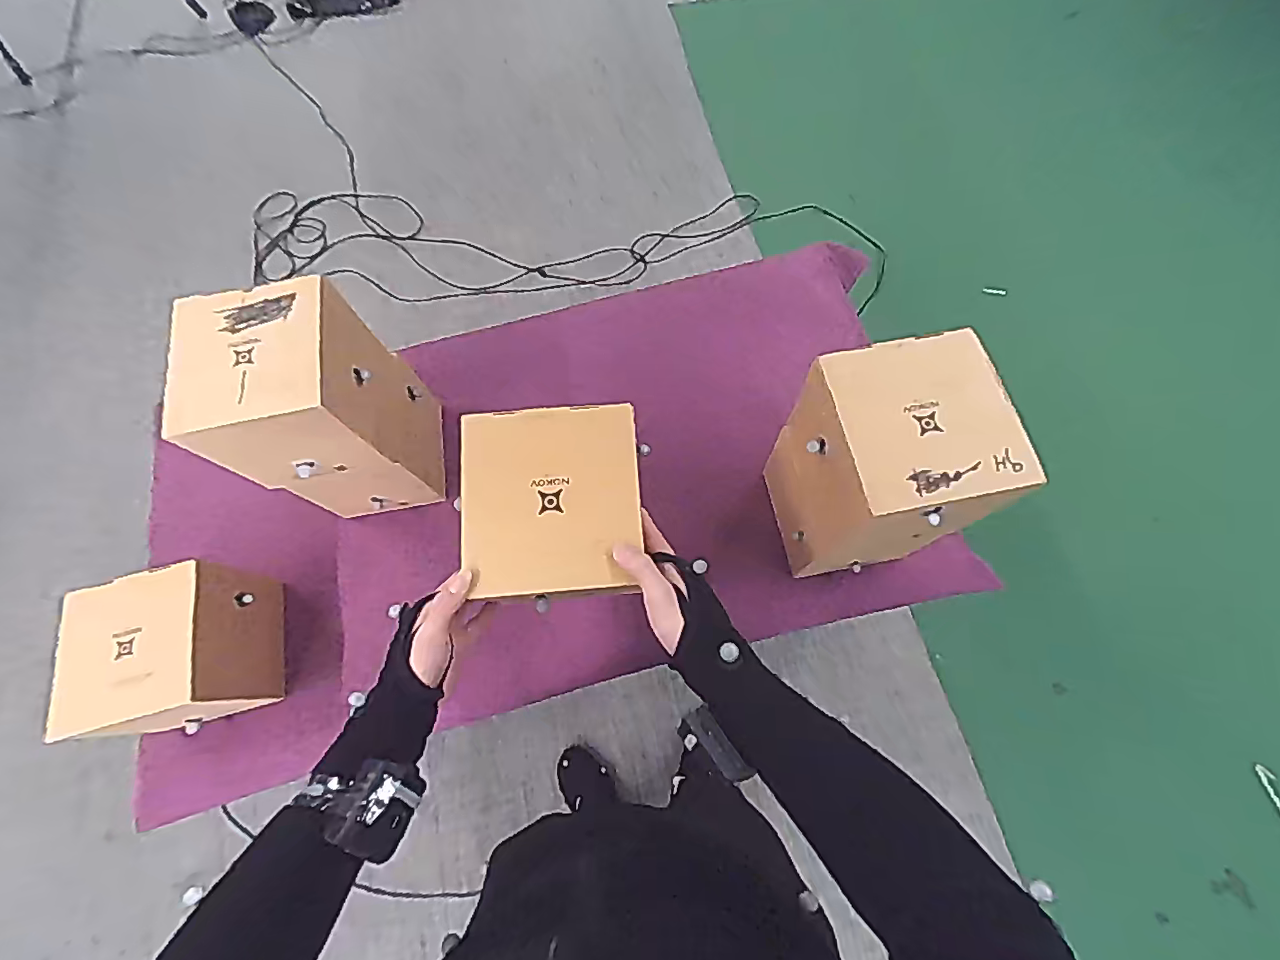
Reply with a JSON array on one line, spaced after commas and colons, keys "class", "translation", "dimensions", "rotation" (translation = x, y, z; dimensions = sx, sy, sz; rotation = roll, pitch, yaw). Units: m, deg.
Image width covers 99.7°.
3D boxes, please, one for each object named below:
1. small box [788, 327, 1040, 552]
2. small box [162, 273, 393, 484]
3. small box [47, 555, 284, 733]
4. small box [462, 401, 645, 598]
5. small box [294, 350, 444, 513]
[{"class": "small box", "translation": [0.274, -0.035, 0.594], "dimensions": [0.168, 0.176, 0.179], "rotation": [-11, 69, 0]}, {"class": "small box", "translation": [-0.418, -0.114, 0.654], "dimensions": [0.168, 0.176, 0.179], "rotation": [-11, 71, -2]}, {"class": "small box", "translation": [-0.606, 0.219, 0.718], "dimensions": [0.168, 0.176, 0.179], "rotation": [-15, 70, -2]}, {"class": "small box", "translation": [-0.082, 0.033, 0.576], "dimensions": [0.168, 0.176, 0.179], "rotation": [-5, 75, -2]}, {"class": "small box", "translation": [-0.407, -0.066, 0.811], "dimensions": [0.168, 0.176, 0.179], "rotation": [-10, 71, -1]}]
